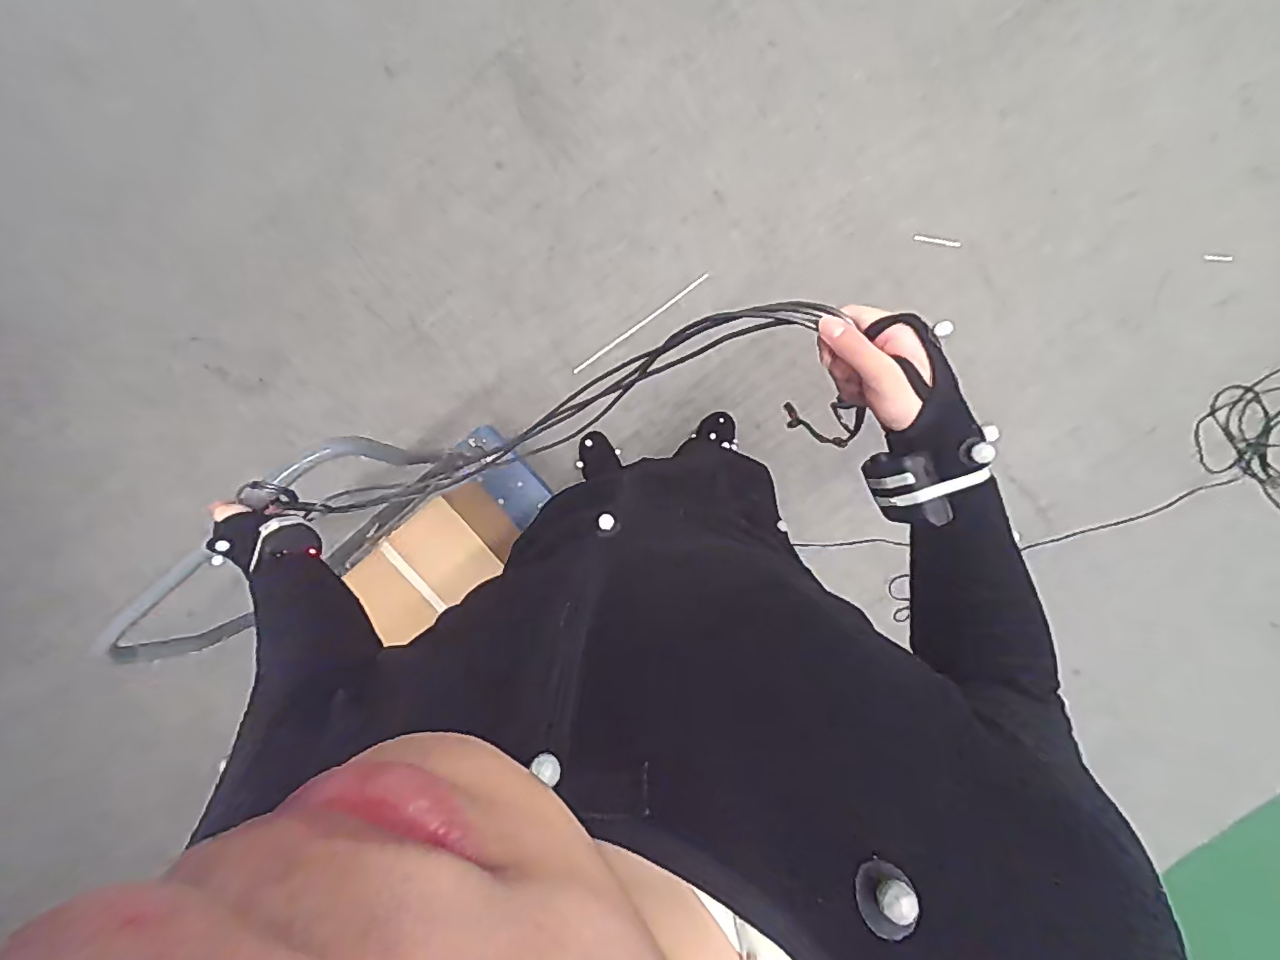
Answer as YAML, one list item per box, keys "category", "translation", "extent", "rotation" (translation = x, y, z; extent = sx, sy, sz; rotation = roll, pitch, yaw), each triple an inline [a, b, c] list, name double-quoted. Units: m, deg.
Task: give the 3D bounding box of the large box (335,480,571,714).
- category: "large box"
  translation: [-0.414, 0.254, 1.304]
  extent: [0.320, 0.320, 0.408]
  rotation: [-40, 97, 1]
